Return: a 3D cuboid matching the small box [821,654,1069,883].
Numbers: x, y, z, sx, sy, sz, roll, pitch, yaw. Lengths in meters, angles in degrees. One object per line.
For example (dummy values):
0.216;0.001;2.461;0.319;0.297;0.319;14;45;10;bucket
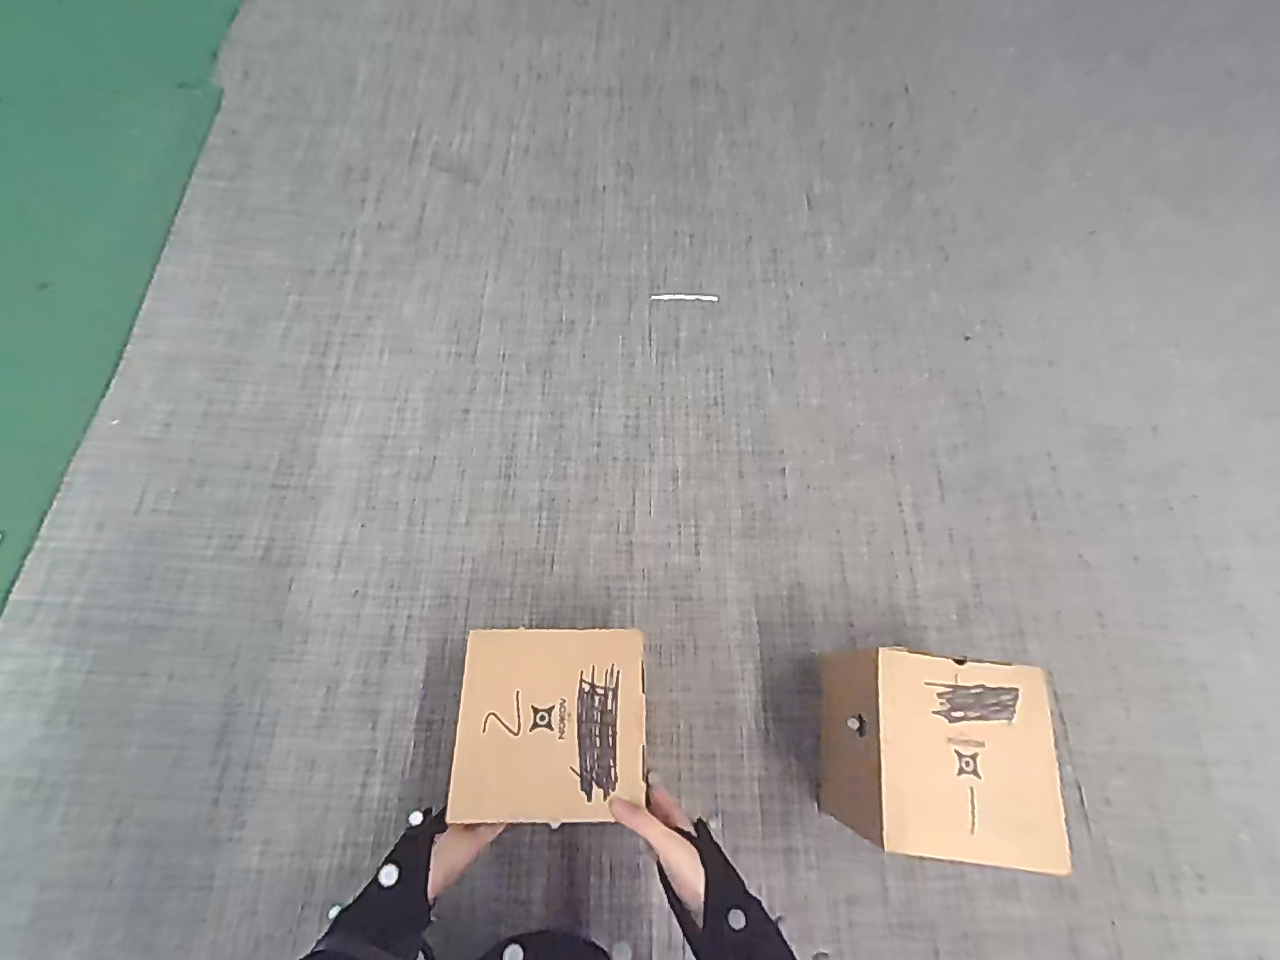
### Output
0.300;0.291;0.577;0.168;0.176;0.179;6;69;1;small box
